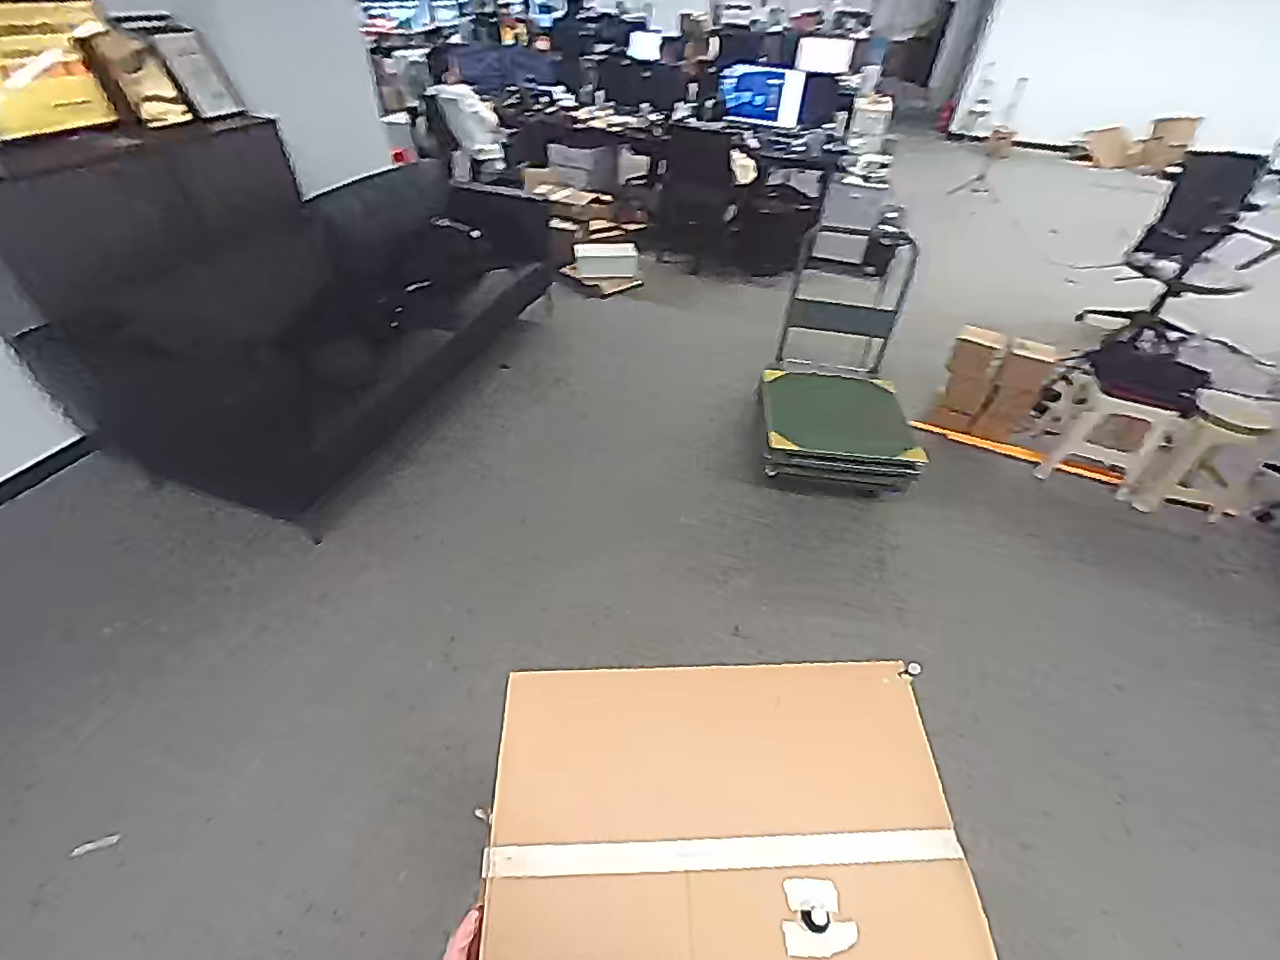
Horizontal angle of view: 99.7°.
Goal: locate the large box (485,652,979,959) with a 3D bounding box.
[{"bbox_3d":[0.066,0.402,0.598,0.408,0.320,0.320,-2,56,-2],"label":"large box"}]
